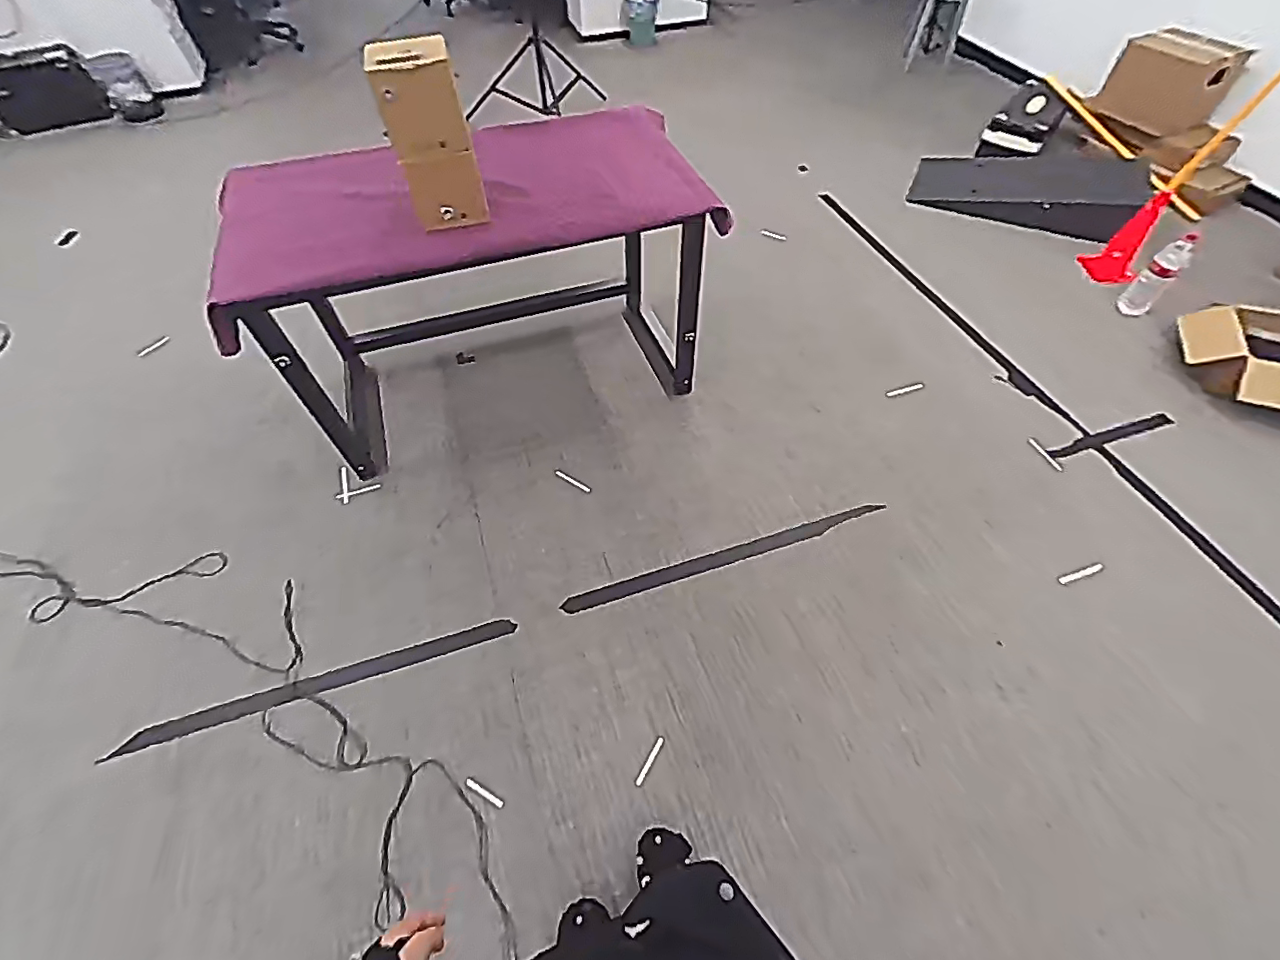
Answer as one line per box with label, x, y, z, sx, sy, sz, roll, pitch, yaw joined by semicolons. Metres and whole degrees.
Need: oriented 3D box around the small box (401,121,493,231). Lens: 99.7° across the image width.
small box;-0.467;-0.737;1.316;0.168;0.176;0.179;-15;56;-8
